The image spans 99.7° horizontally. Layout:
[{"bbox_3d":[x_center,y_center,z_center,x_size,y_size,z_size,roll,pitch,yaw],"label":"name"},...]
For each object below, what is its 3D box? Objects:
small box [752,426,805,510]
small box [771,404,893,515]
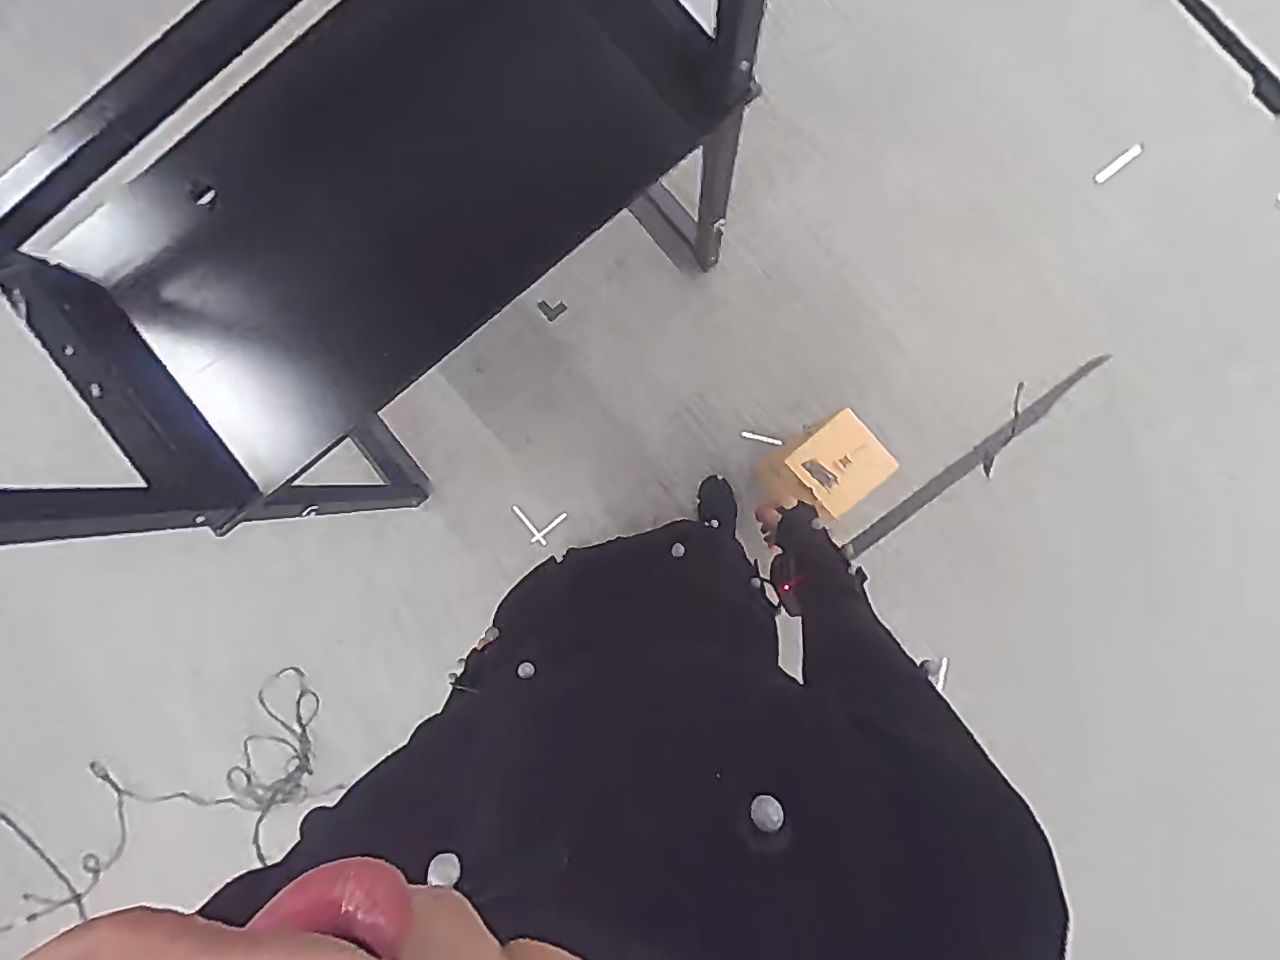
[{"bbox_3d":[0.438,-0.037,1.520,0.179,0.176,0.168,-40,88,3],"label":"small box"},{"bbox_3d":[0.409,-0.041,1.192,0.179,0.176,0.168,-41,89,2],"label":"small box"}]
